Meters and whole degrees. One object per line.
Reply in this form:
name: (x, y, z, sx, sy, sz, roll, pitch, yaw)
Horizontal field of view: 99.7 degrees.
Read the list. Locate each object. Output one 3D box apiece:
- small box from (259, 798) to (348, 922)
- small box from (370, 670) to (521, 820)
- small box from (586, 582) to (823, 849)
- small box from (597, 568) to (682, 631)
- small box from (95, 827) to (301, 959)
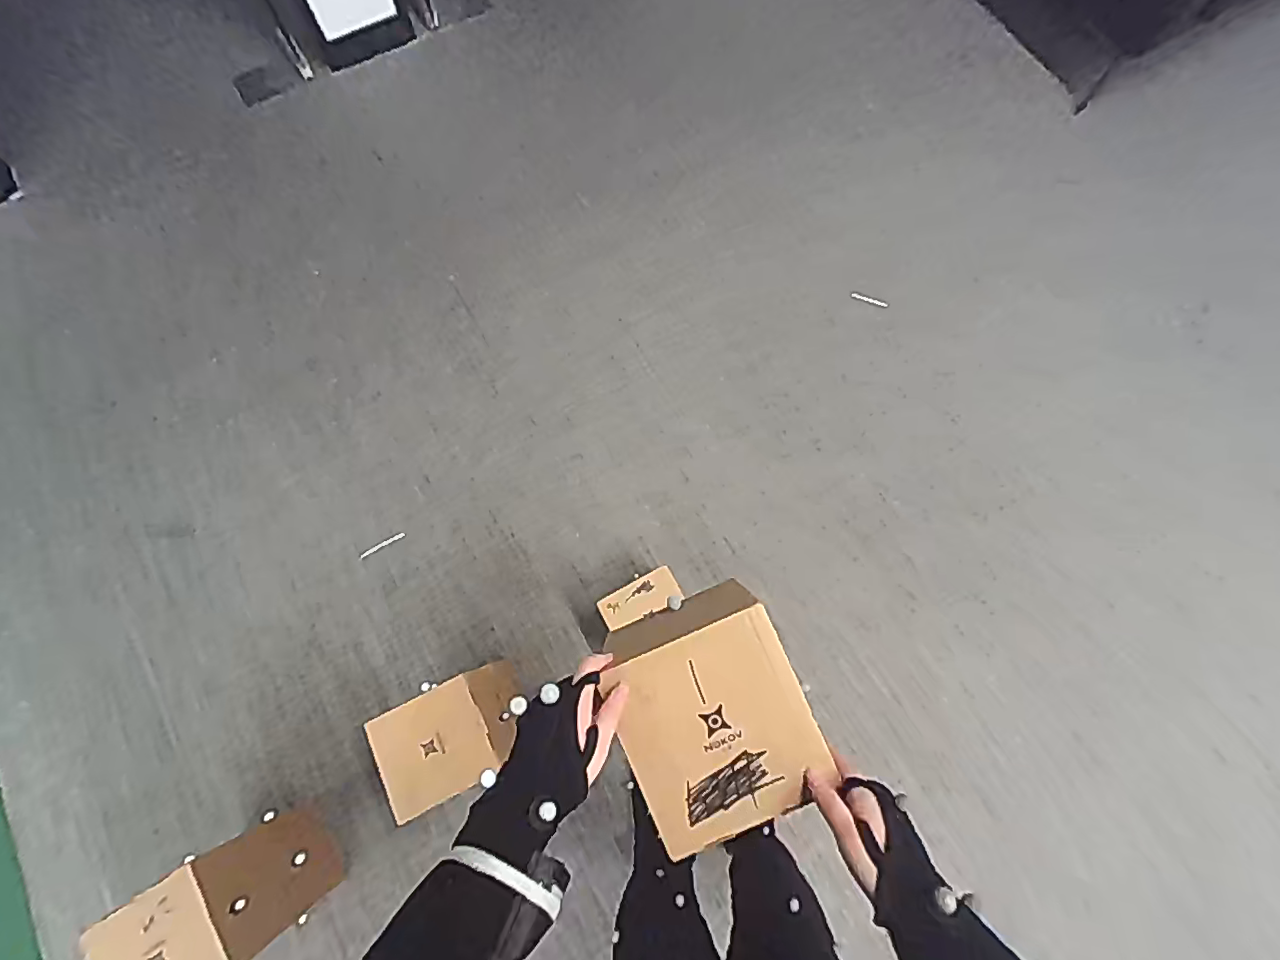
small box: (-0.699, 0.753, 1.033, 0.168, 0.176, 0.179, -31, 76, -10)
small box: (-0.332, 0.453, 0.953, 0.179, 0.176, 0.168, -26, 76, -8)
small box: (0.061, 0.226, 0.567, 0.168, 0.176, 0.179, -24, 86, 1)
small box: (0.022, 0.310, 1.168, 0.168, 0.176, 0.179, -27, 77, -8)
small box: (-0.696, 0.711, 0.874, 0.168, 0.176, 0.179, -32, 77, -10)
